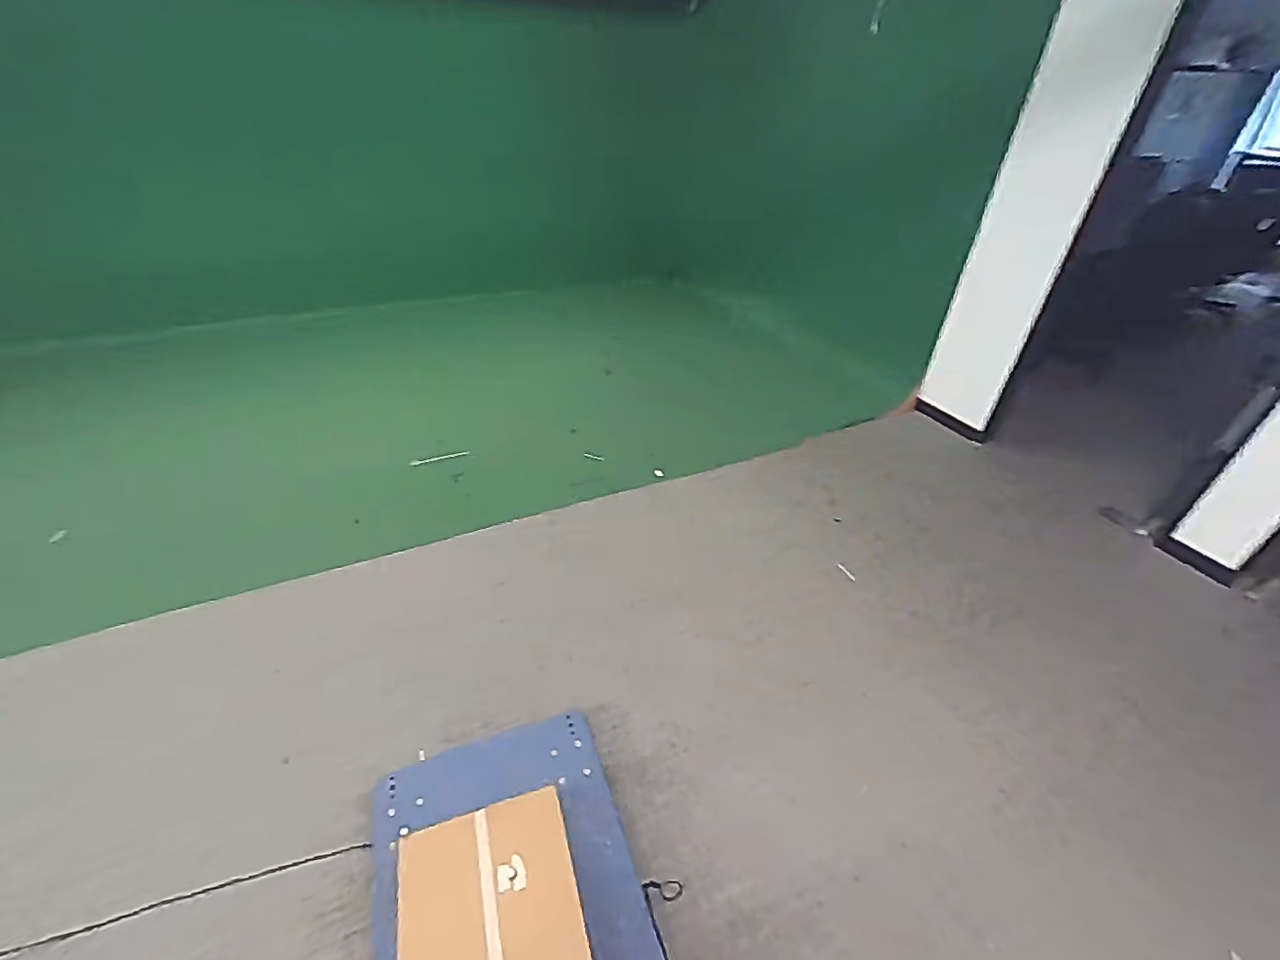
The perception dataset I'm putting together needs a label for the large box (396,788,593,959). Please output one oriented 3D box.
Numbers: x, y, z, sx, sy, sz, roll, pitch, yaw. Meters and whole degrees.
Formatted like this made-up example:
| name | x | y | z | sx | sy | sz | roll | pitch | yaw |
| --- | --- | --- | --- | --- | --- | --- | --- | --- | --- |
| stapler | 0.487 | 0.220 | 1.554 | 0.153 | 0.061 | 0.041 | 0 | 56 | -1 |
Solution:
| name | x | y | z | sx | sy | sz | roll | pitch | yaw |
| --- | --- | --- | --- | --- | --- | --- | --- | --- | --- |
| large box | -0.263 | 0.901 | 1.027 | 0.320 | 0.320 | 0.408 | -10 | 38 | -16 |
